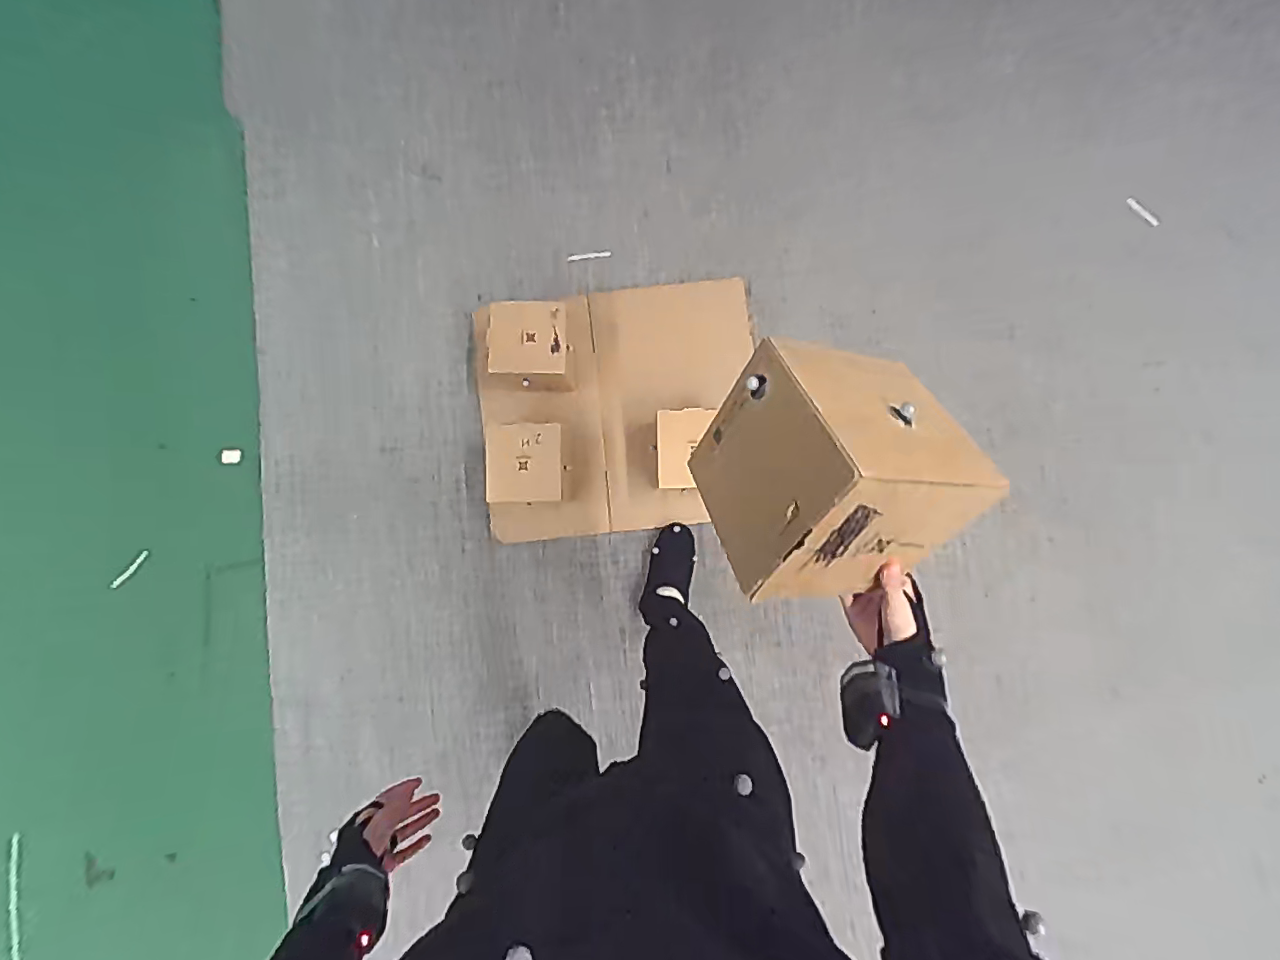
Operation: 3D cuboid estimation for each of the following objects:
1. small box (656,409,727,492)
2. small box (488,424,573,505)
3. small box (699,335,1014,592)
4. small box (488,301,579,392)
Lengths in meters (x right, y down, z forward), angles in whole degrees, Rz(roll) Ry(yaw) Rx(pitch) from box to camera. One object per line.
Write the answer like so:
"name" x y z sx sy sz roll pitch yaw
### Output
"small box" 0.123 -0.061 1.248 0.168 0.176 0.179 -2 85 0
"small box" -0.247 -0.031 1.252 0.168 0.176 0.179 -1 85 0
"small box" 0.180 -0.015 0.505 0.179 0.168 0.176 2 47 -27
"small box" -0.244 -0.308 1.273 0.179 0.176 0.168 1 85 1
